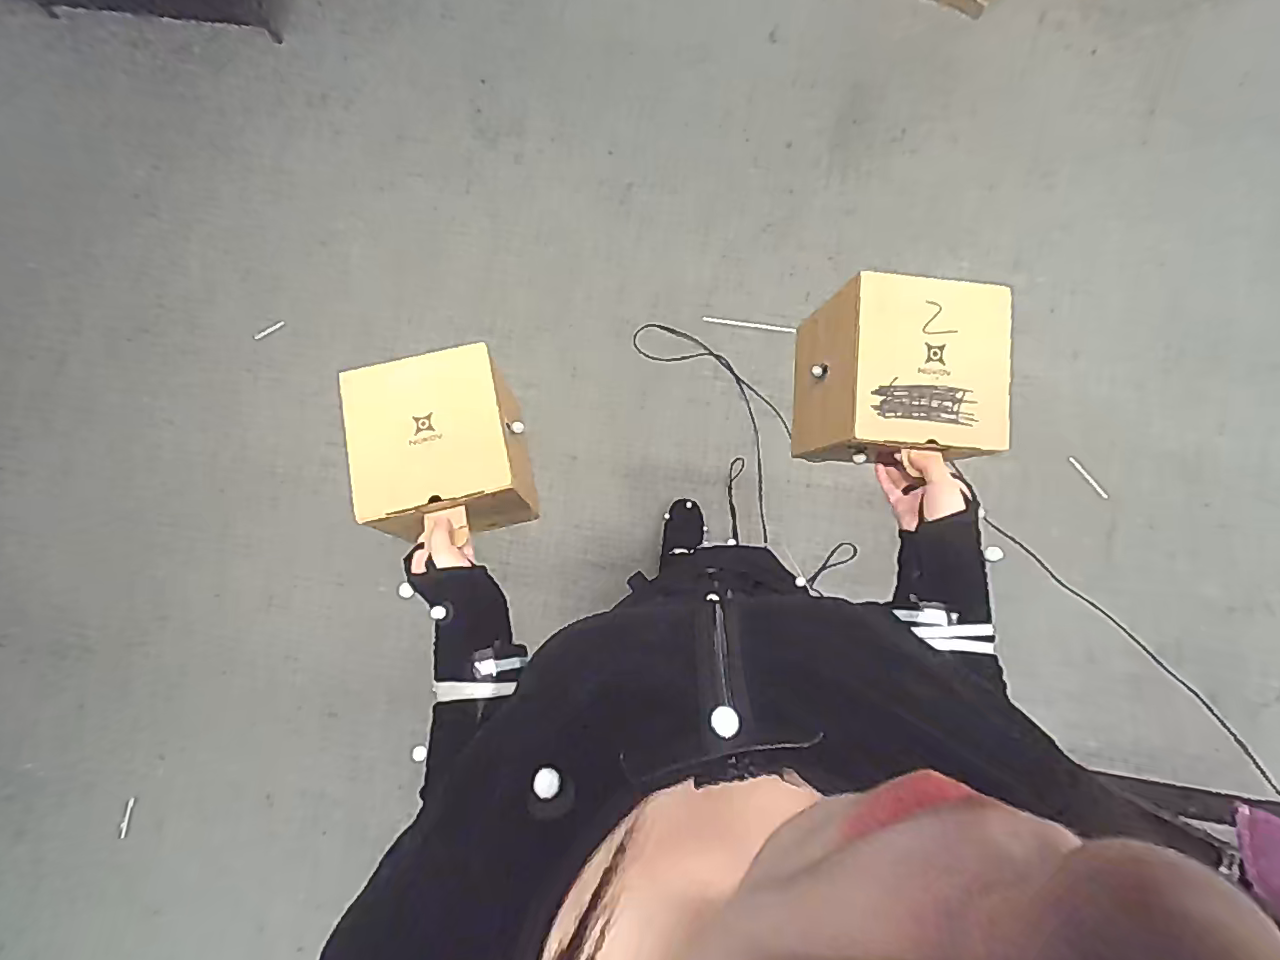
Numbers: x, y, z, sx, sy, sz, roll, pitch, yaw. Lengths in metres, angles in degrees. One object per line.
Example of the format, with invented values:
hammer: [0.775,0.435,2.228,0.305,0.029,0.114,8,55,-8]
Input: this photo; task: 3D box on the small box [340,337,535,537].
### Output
small box: [-0.233,-0.042,0.655,0.168,0.176,0.179,-13,76,-4]
